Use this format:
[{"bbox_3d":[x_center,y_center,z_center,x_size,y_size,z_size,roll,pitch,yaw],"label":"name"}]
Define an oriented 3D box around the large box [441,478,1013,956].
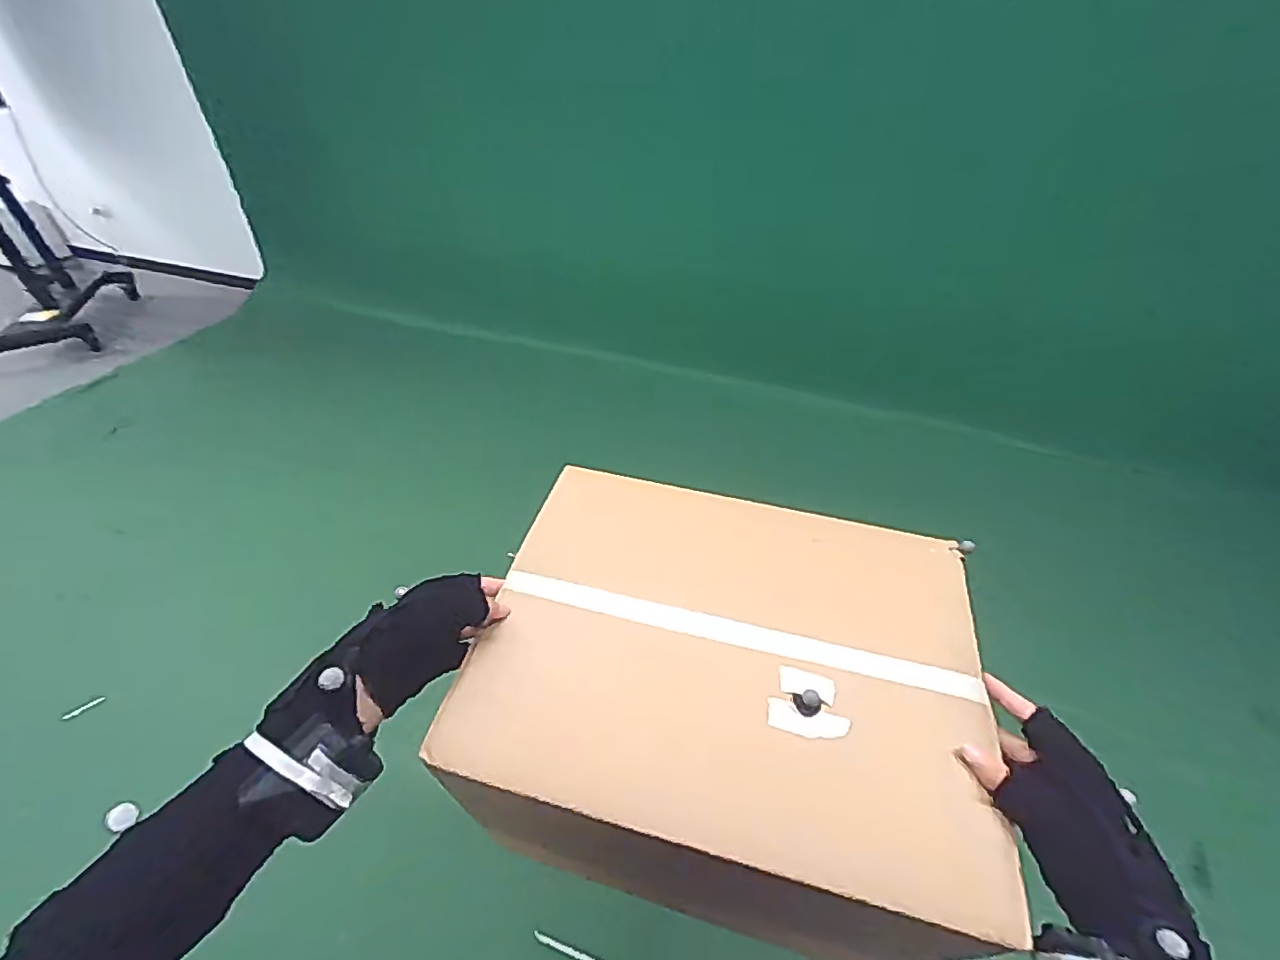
[{"bbox_3d":[0.075,0.239,0.574,0.408,0.320,0.320,11,47,10],"label":"large box"}]
